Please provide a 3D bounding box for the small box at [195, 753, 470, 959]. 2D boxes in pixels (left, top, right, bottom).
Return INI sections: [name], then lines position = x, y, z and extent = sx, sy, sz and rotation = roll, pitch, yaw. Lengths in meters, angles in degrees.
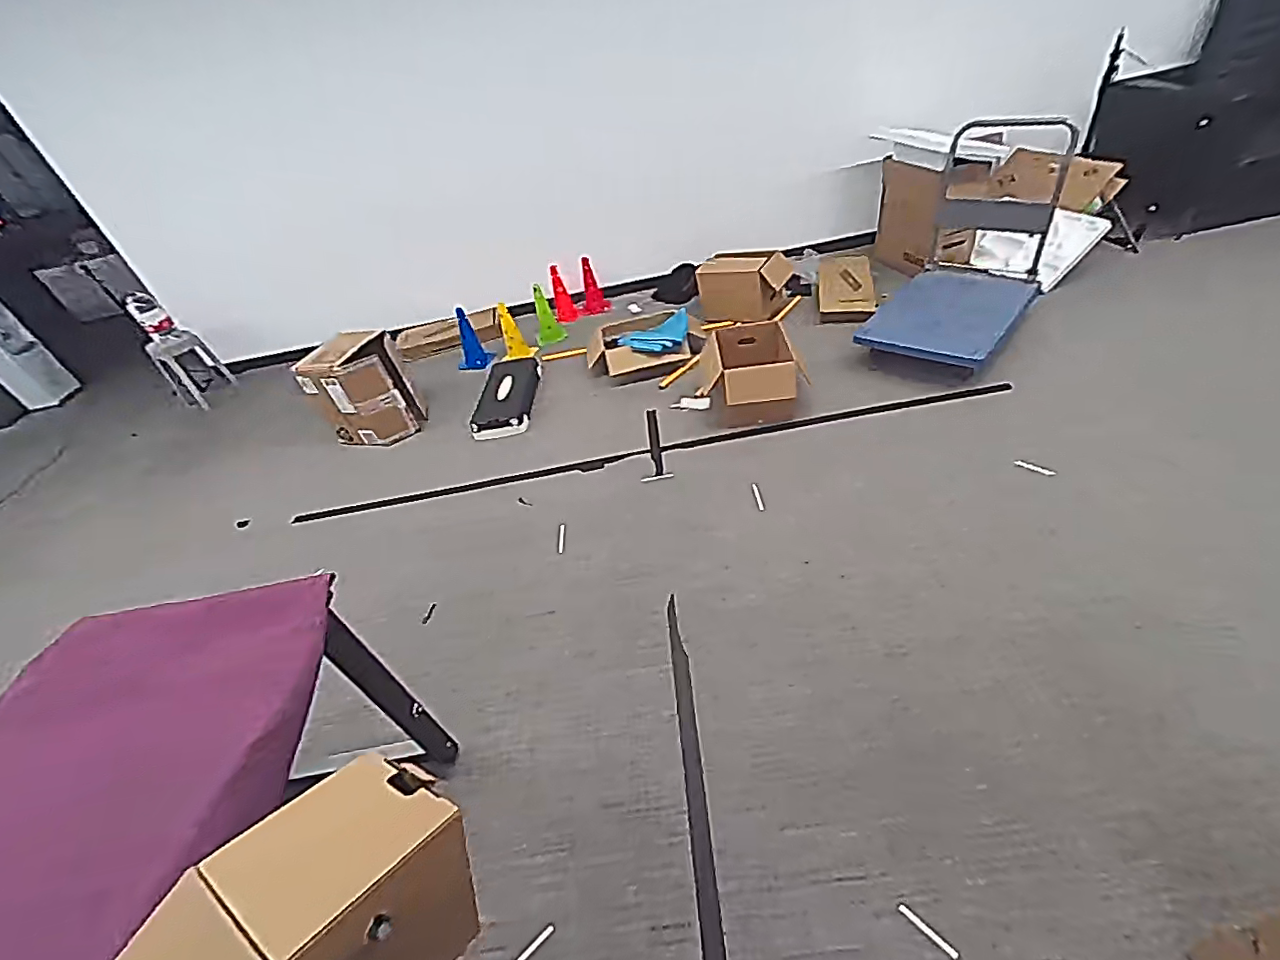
[small box]
position = -0.295, 0.428, 0.544
extent = 0.168, 0.176, 0.179
rotation = 7, 18, 33
